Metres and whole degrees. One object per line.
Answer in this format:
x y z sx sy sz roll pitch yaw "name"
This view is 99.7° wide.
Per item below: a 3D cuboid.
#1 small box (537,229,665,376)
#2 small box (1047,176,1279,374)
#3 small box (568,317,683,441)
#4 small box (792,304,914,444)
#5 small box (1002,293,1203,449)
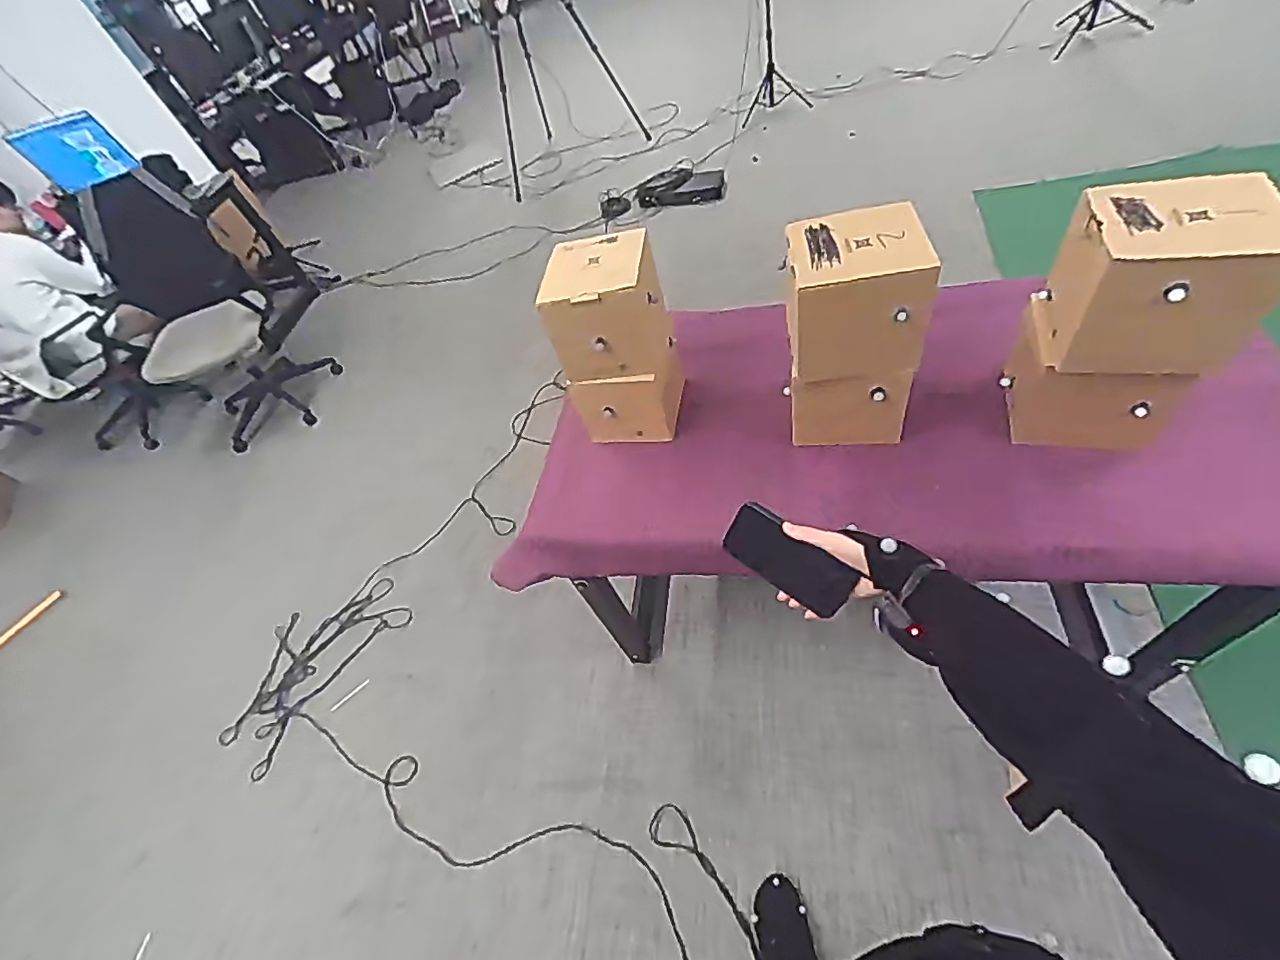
-0.055 -0.294 0.929 0.168 0.176 0.179 -3 53 14 "small box"
0.642 -0.248 0.678 0.179 0.176 0.168 5 55 20 "small box"
-0.017 -0.189 1.050 0.168 0.176 0.179 0 53 18 "small box"
0.352 -0.174 0.922 0.179 0.176 0.168 0 53 17 "small box"
0.674 -0.163 0.814 0.179 0.176 0.168 5 54 21 "small box"
